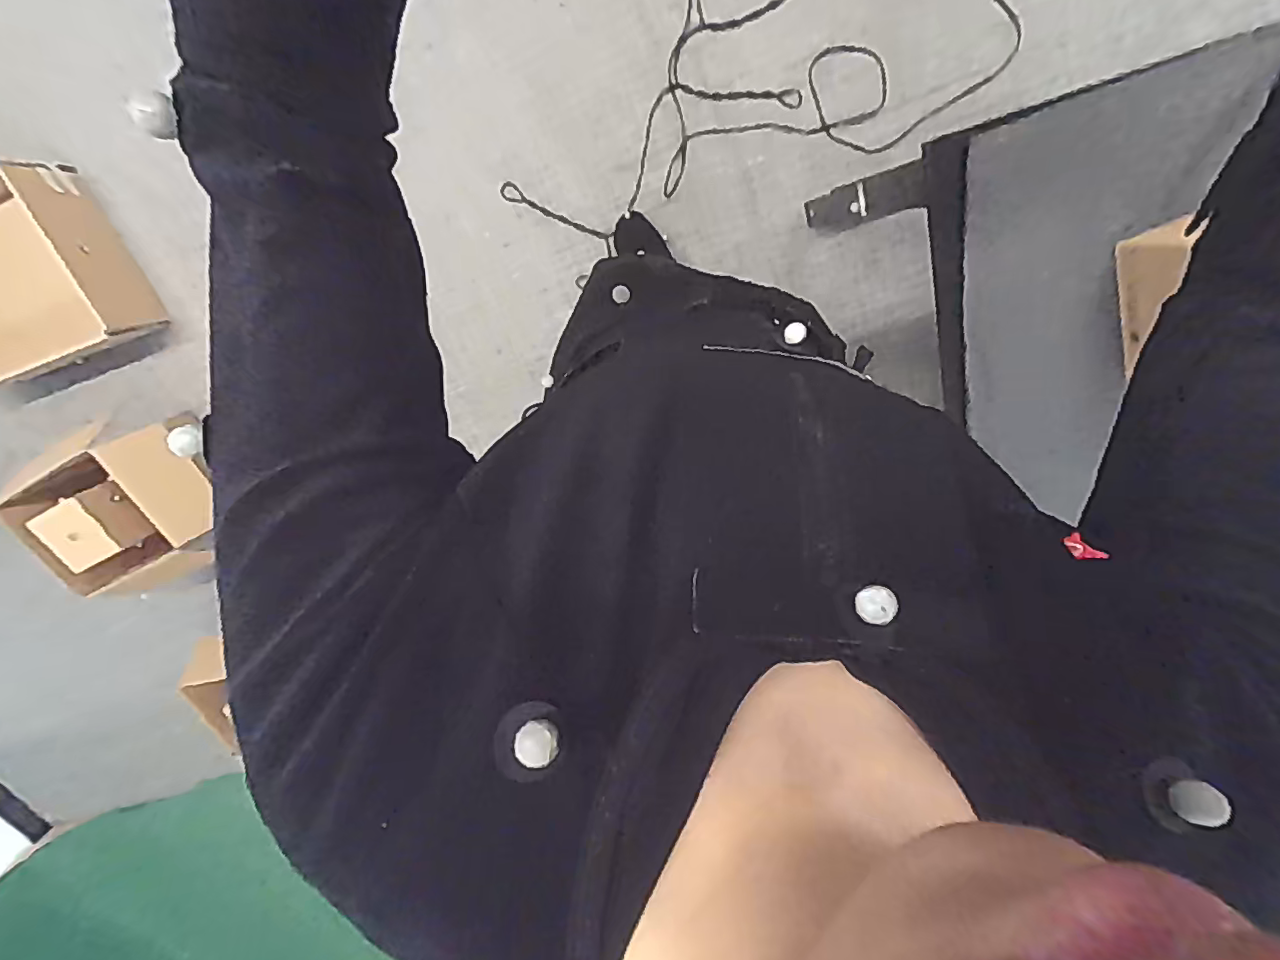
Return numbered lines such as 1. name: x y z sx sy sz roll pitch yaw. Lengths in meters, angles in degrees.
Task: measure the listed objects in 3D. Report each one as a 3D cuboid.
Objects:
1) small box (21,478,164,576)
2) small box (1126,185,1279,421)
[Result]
1. small box: -1.412 0.116 1.415 0.179 0.176 0.168 -23 109 12
2. small box: 0.623 -0.181 0.527 0.179 0.176 0.168 -20 111 12
